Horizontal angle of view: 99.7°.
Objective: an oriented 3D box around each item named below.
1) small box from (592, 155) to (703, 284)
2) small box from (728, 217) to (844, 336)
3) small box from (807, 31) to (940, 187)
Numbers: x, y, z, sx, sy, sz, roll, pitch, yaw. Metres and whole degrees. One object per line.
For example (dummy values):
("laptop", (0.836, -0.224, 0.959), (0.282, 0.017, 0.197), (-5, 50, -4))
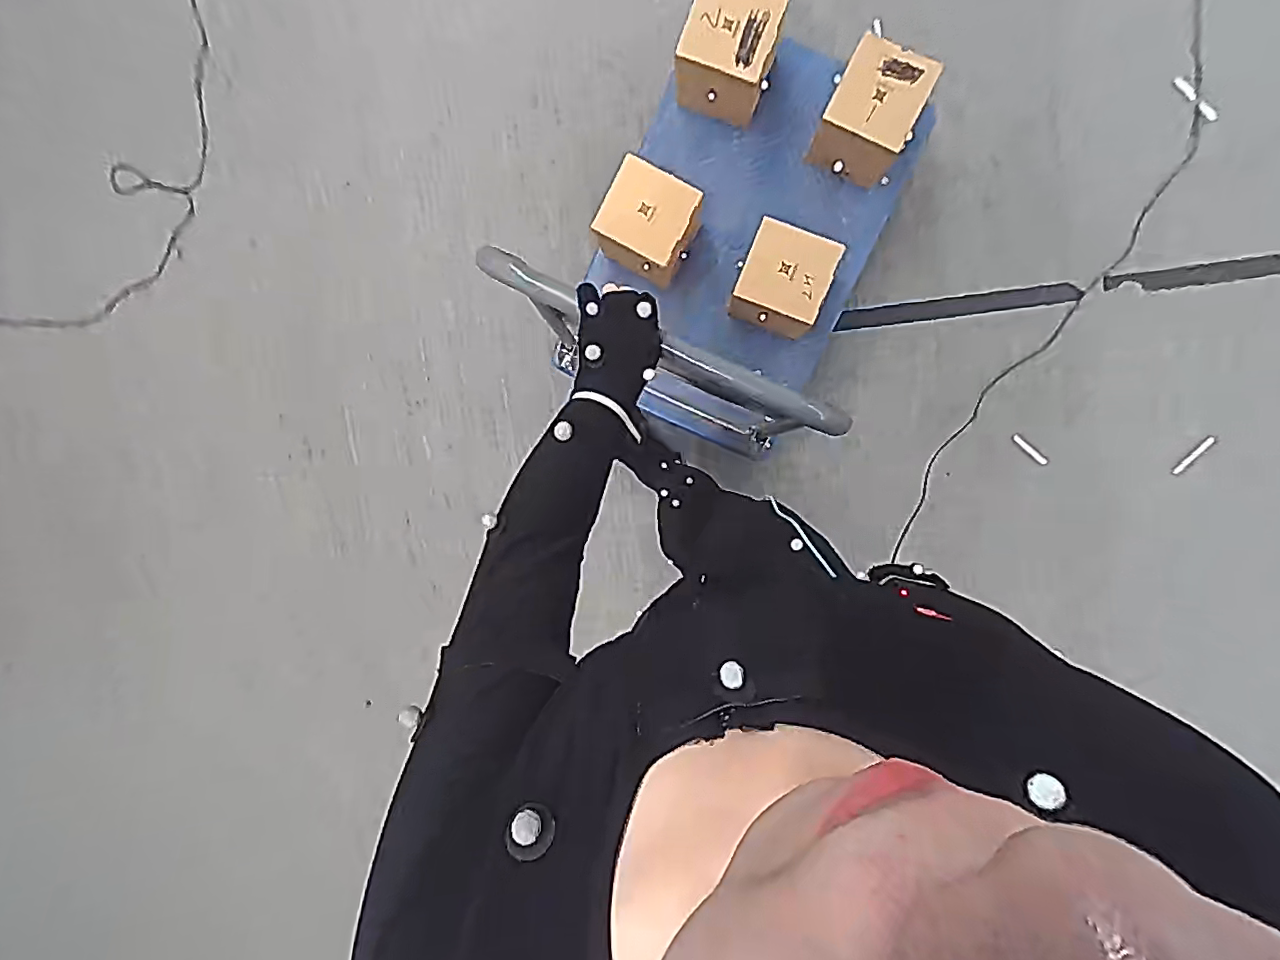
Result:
("small box", (0.017, -0.548, 1.169), (0.179, 0.176, 0.168), (28, 96, 0))
("small box", (0.300, -0.423, 1.157), (0.179, 0.176, 0.168), (22, 97, 2))
("small box", (0.467, -0.750, 1.114), (0.168, 0.176, 0.179), (27, 98, 2))
